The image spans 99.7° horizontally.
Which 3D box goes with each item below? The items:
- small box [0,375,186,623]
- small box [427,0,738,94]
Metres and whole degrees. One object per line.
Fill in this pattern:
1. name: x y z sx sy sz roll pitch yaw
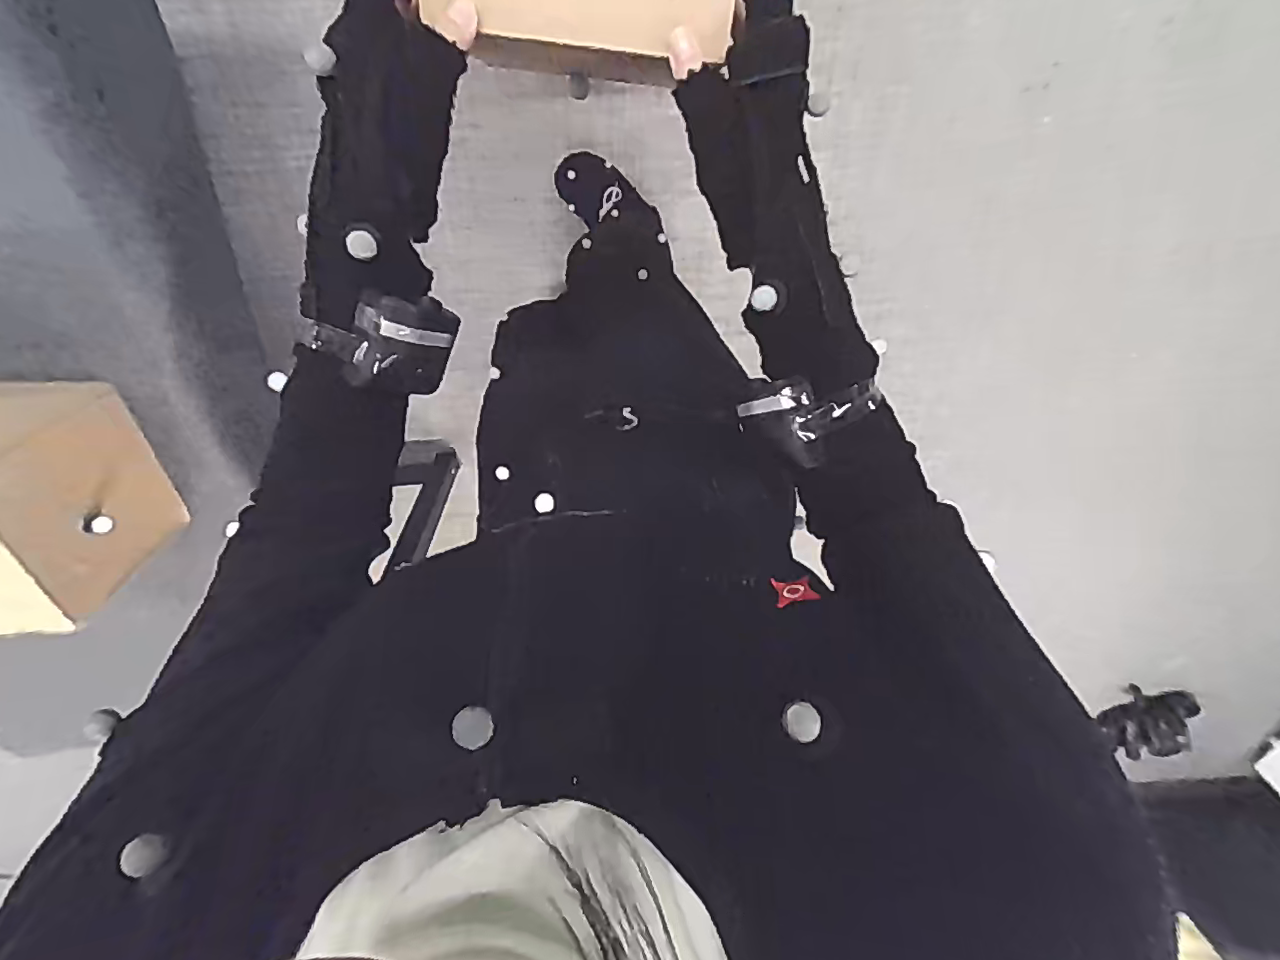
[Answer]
1. small box: -0.599 0.015 0.518 0.168 0.176 0.179 0 126 -2
2. small box: -0.024 -0.351 0.319 0.168 0.176 0.179 5 122 -4
